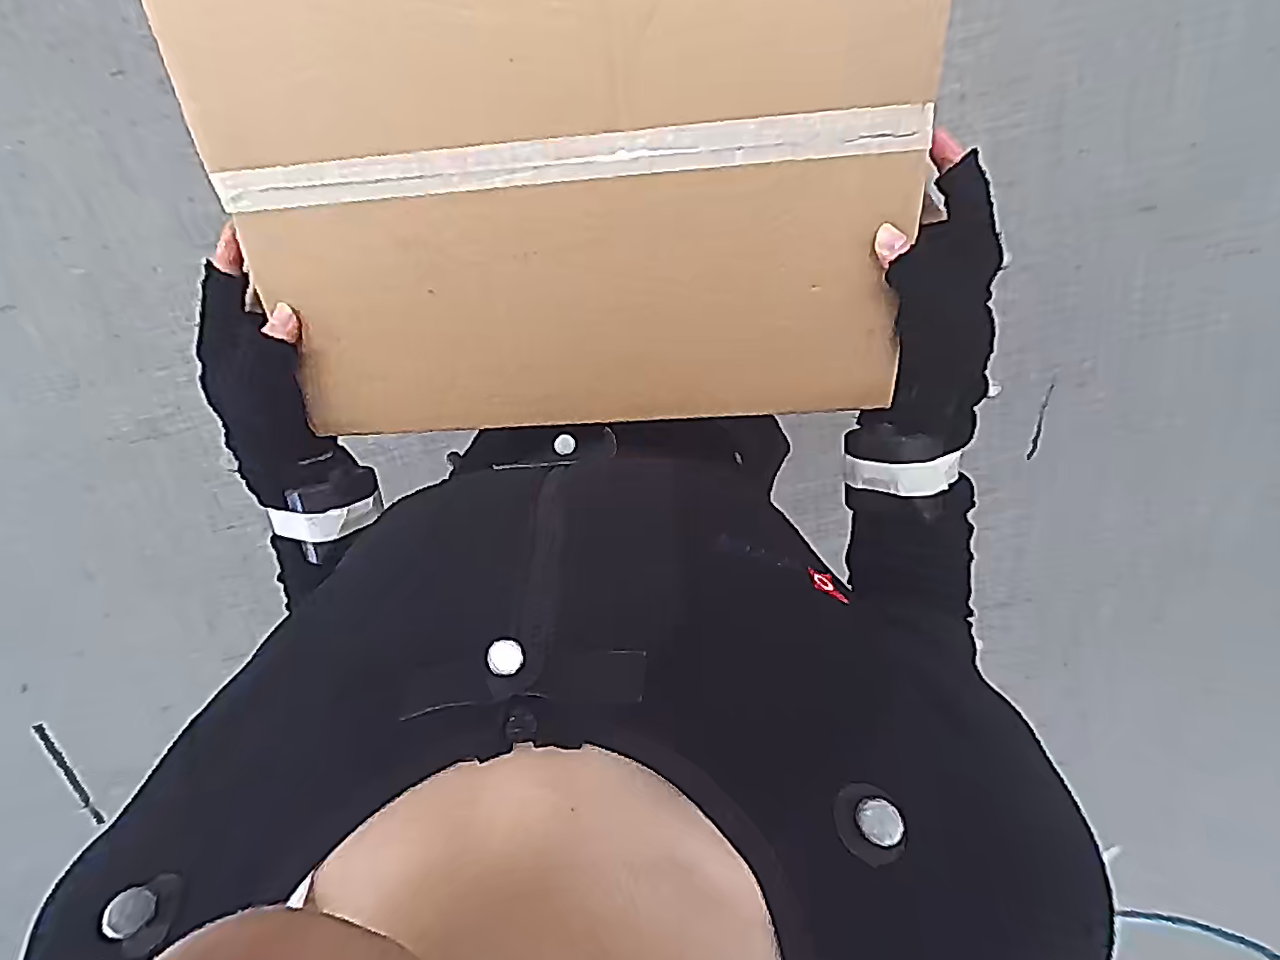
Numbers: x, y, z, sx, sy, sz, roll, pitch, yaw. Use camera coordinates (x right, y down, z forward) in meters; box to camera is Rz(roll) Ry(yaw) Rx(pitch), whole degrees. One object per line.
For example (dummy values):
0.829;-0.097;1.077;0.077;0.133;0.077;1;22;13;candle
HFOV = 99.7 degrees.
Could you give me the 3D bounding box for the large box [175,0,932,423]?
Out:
-0.039;-0.256;0.445;0.408;0.320;0.320;-2;118;5;large box
